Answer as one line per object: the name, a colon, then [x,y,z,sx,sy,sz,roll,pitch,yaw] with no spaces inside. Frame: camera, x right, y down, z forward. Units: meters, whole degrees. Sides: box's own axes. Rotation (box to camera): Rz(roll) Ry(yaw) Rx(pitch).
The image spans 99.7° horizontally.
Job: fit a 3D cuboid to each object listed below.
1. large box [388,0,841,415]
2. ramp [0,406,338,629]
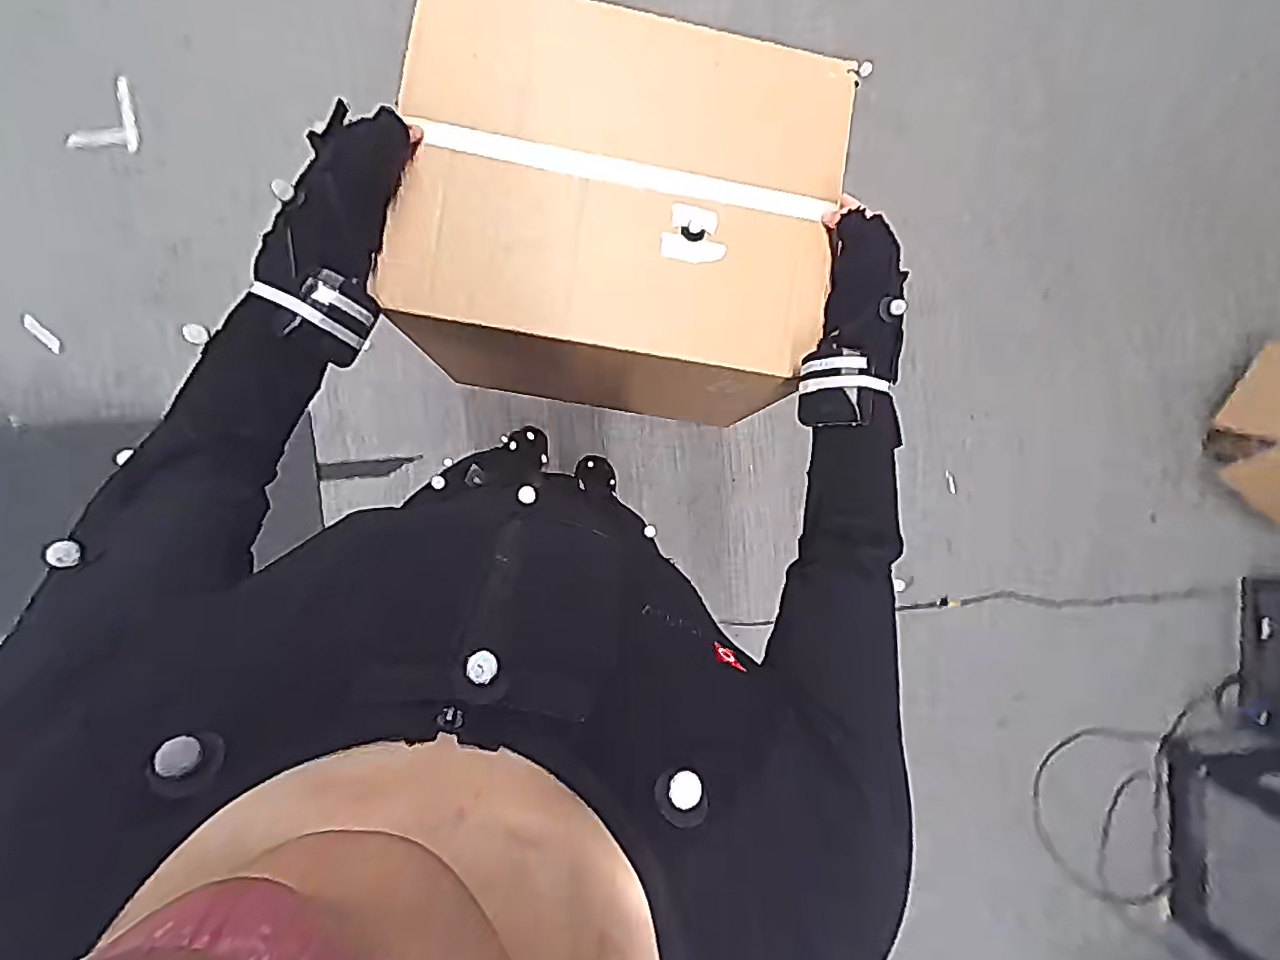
large box: [-0.030,-0.275,0.651,0.408,0.320,0.320,7,87,-6]
ramp: [-1.311,0.088,1.319,0.991,0.206,0.509,-6,92,-4]
